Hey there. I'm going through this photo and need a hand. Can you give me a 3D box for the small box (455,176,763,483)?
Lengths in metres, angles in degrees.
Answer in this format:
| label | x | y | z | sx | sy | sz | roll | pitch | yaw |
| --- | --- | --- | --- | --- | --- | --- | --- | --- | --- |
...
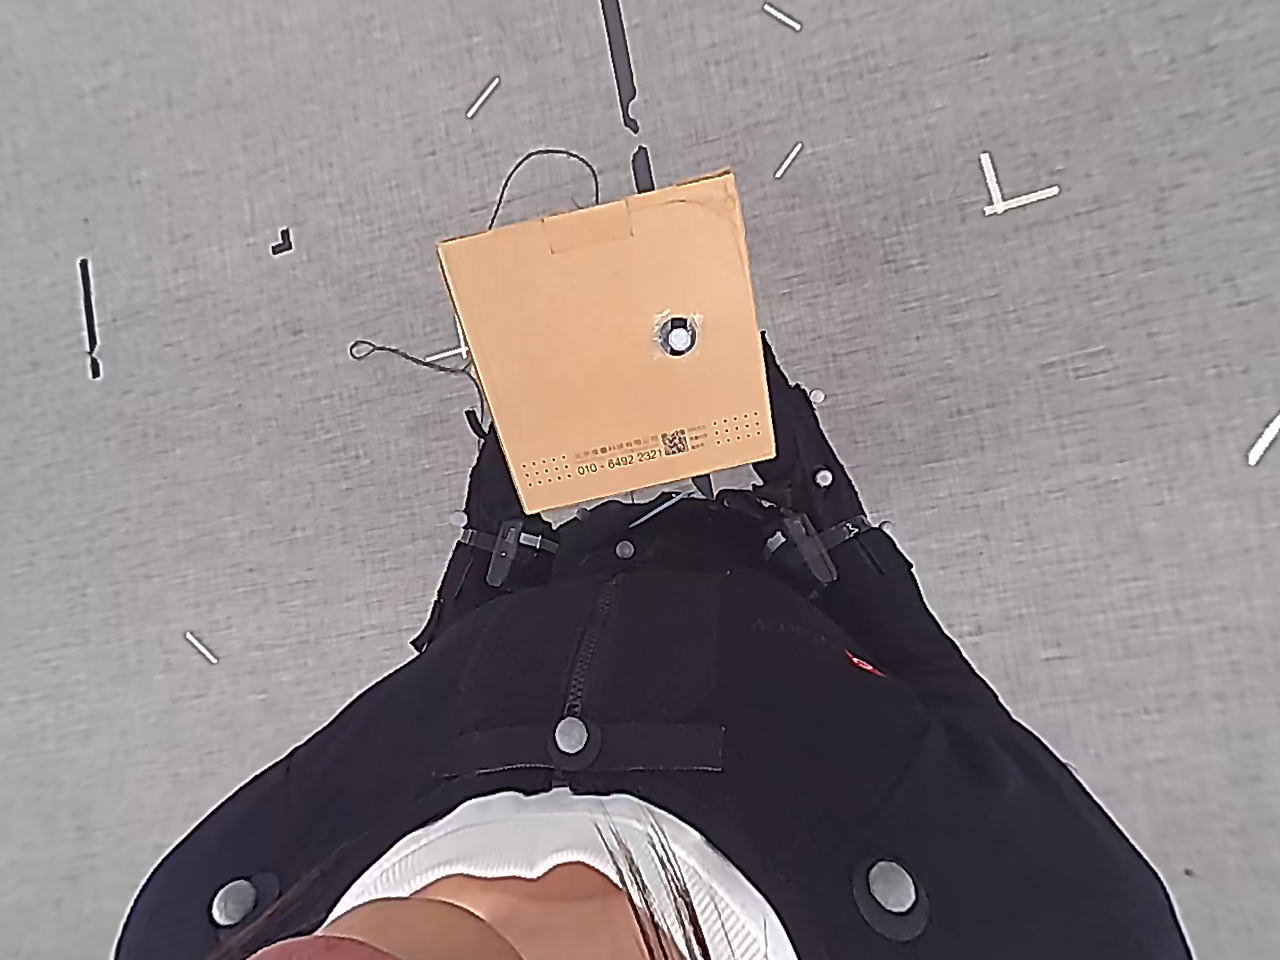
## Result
| label | x | y | z | sx | sy | sz | roll | pitch | yaw |
| --- | --- | --- | --- | --- | --- | --- | --- | --- | --- |
| small box | -0.013 | -0.108 | 0.410 | 0.168 | 0.179 | 0.176 | -12 | 112 | 3 |
